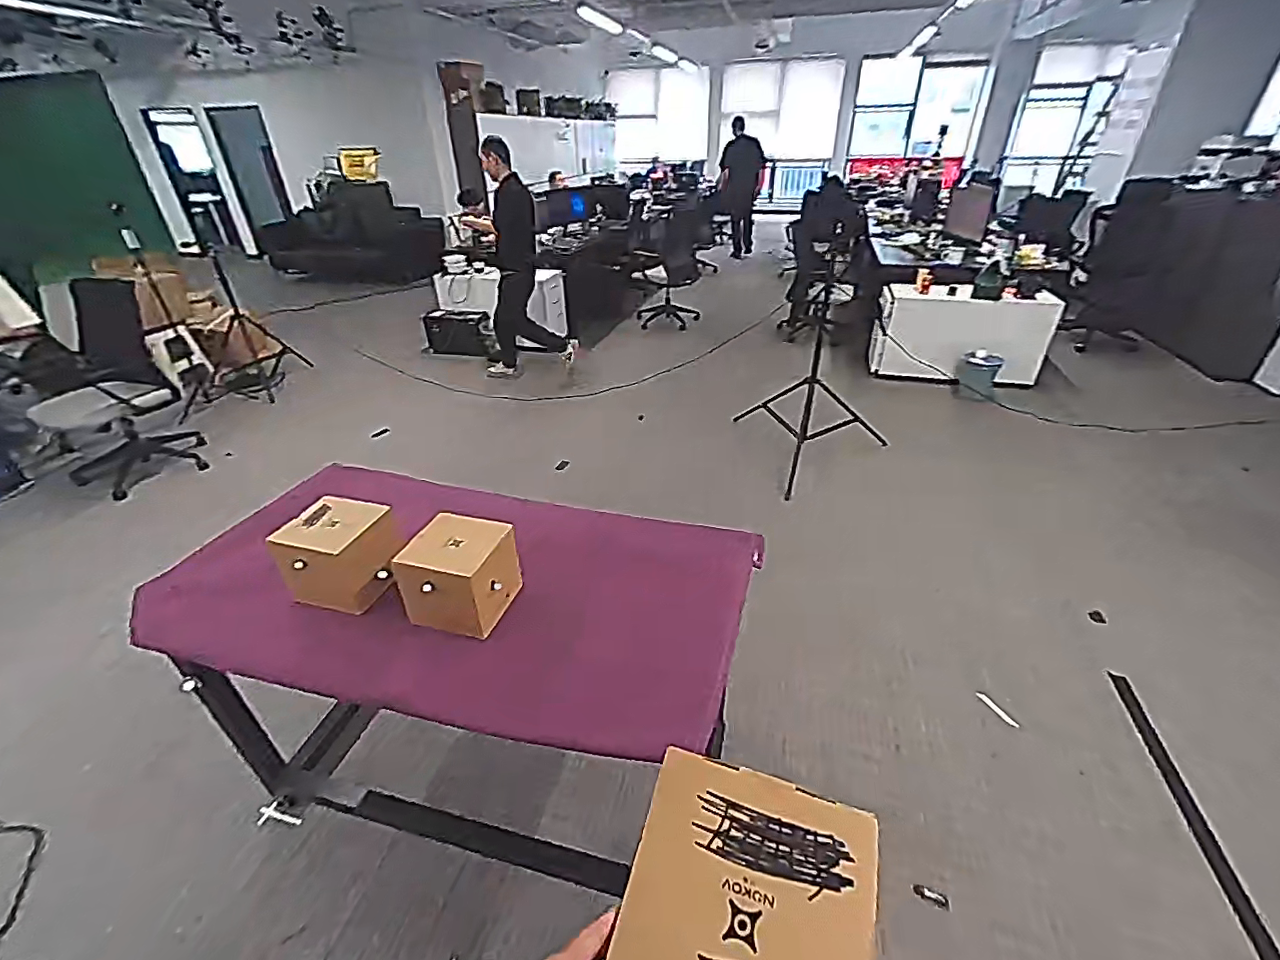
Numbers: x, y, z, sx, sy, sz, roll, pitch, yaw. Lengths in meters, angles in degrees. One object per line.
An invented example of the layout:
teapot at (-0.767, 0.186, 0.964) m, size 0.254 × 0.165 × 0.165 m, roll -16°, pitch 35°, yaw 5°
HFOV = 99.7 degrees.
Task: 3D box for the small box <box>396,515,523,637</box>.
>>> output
small box at (-0.355, 0.196, 1.104) m, size 0.179 × 0.176 × 0.168 m, roll 8°, pitch 33°, yaw 14°

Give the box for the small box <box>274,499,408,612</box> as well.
small box at (-0.630, 0.162, 1.166) m, size 0.179 × 0.176 × 0.168 m, roll 8°, pitch 34°, yaw 14°
